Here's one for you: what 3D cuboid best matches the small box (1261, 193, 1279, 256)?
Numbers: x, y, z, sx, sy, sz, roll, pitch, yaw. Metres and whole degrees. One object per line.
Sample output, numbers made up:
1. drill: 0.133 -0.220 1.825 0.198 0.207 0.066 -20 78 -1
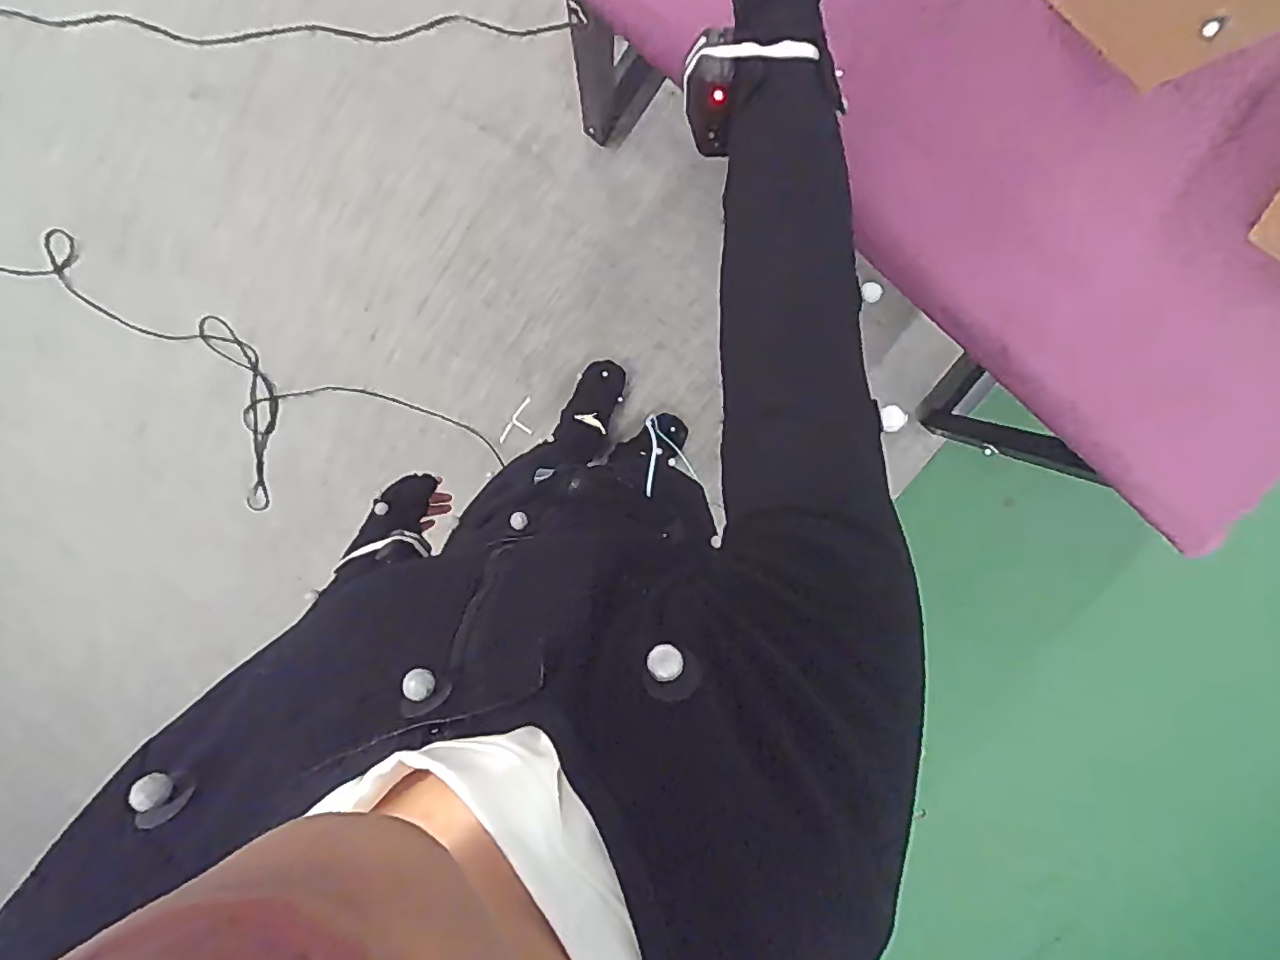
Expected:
1. small box: 0.879 -0.322 0.602 0.168 0.176 0.179 26 102 -9
